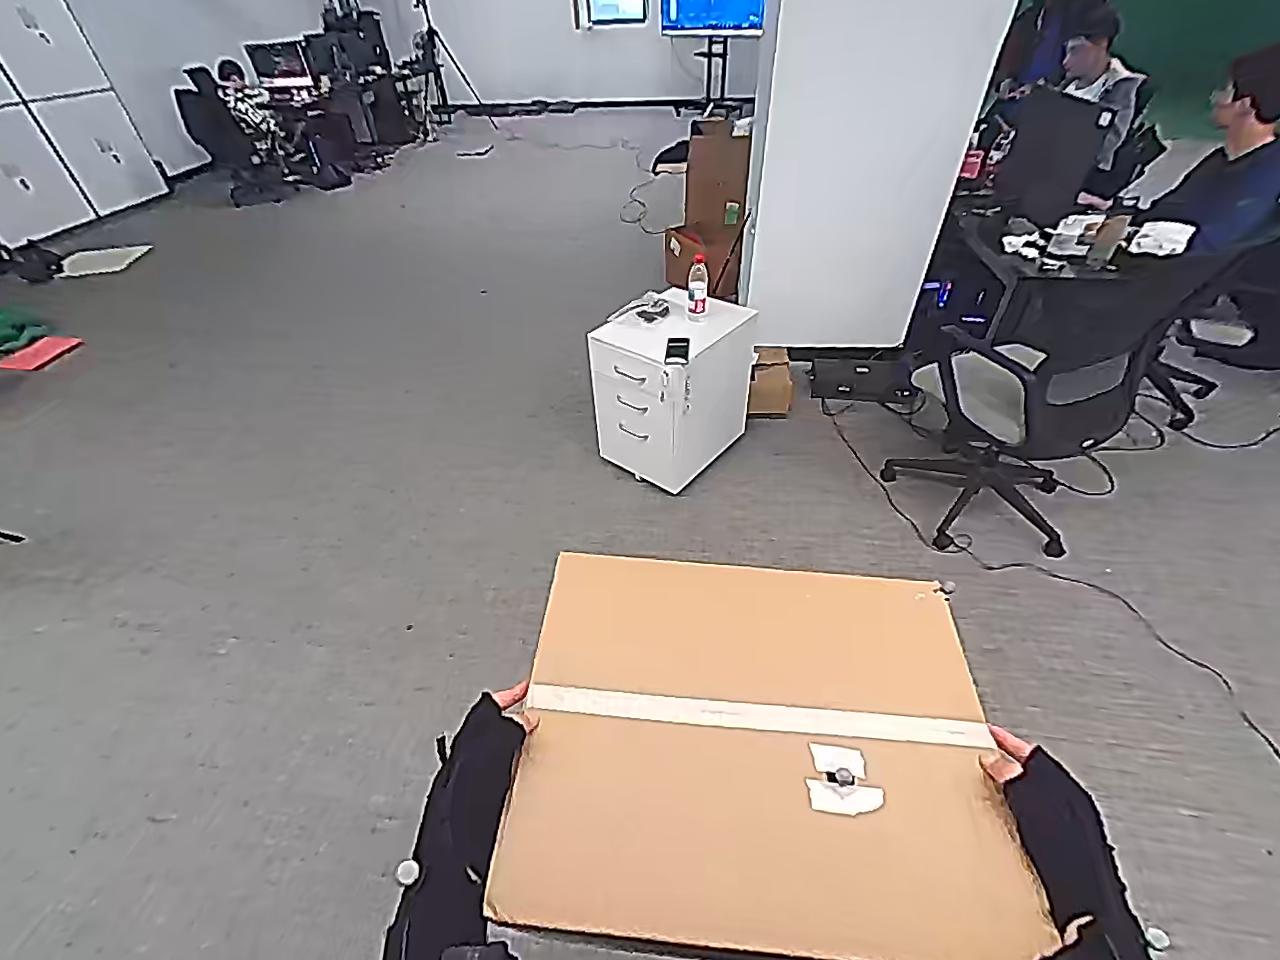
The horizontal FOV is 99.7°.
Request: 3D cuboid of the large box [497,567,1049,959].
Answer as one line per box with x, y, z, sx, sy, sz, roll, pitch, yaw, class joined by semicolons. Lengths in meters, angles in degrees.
0.098;0.319;0.592;0.408;0.320;0.320;5;49;3;large box
